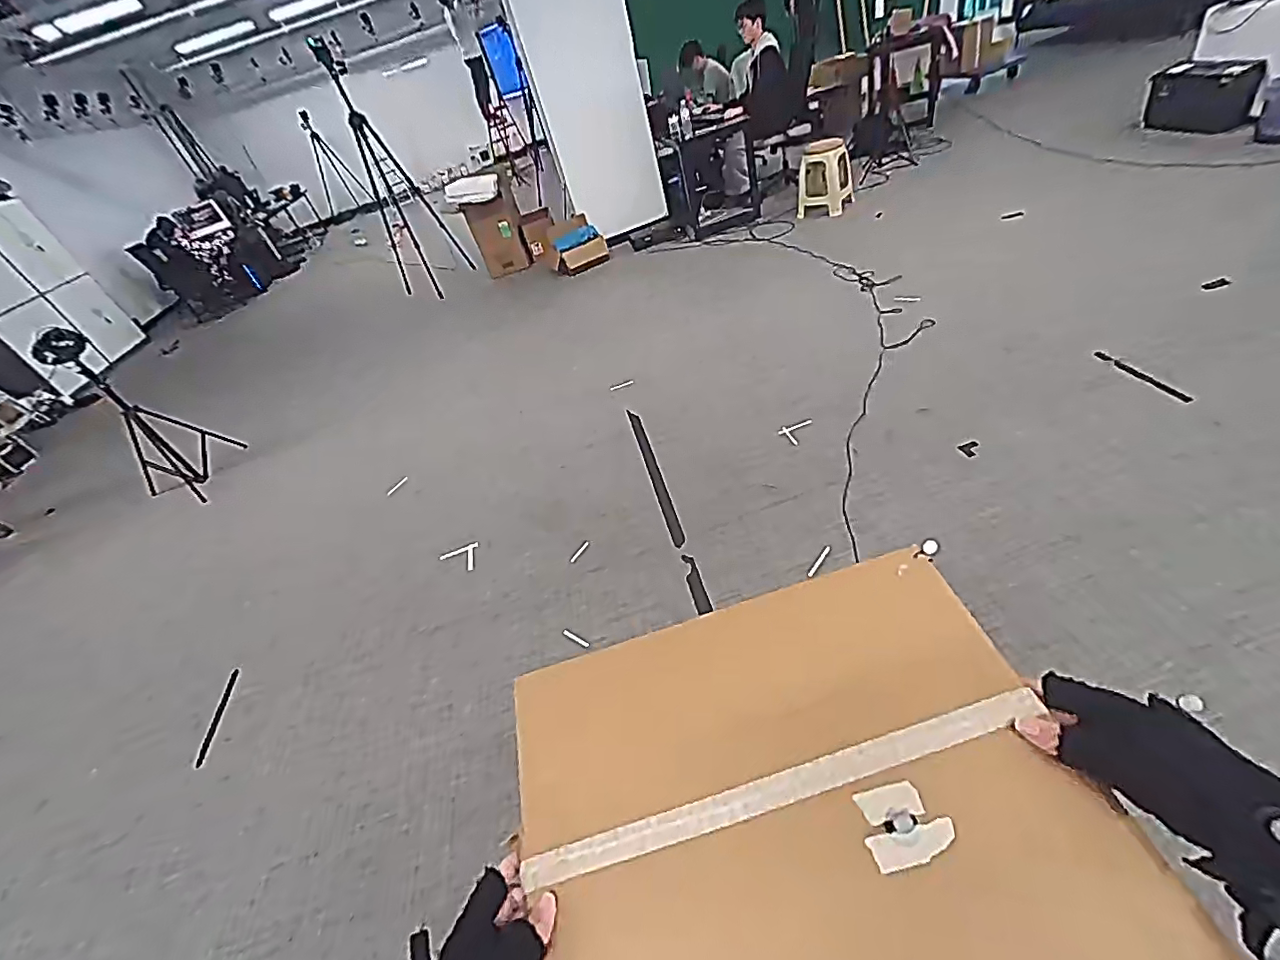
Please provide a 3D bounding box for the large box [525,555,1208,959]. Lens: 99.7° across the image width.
[{"bbox_3d":[0.143,0.338,0.521,0.408,0.320,0.320,-19,46,-1],"label":"large box"}]
